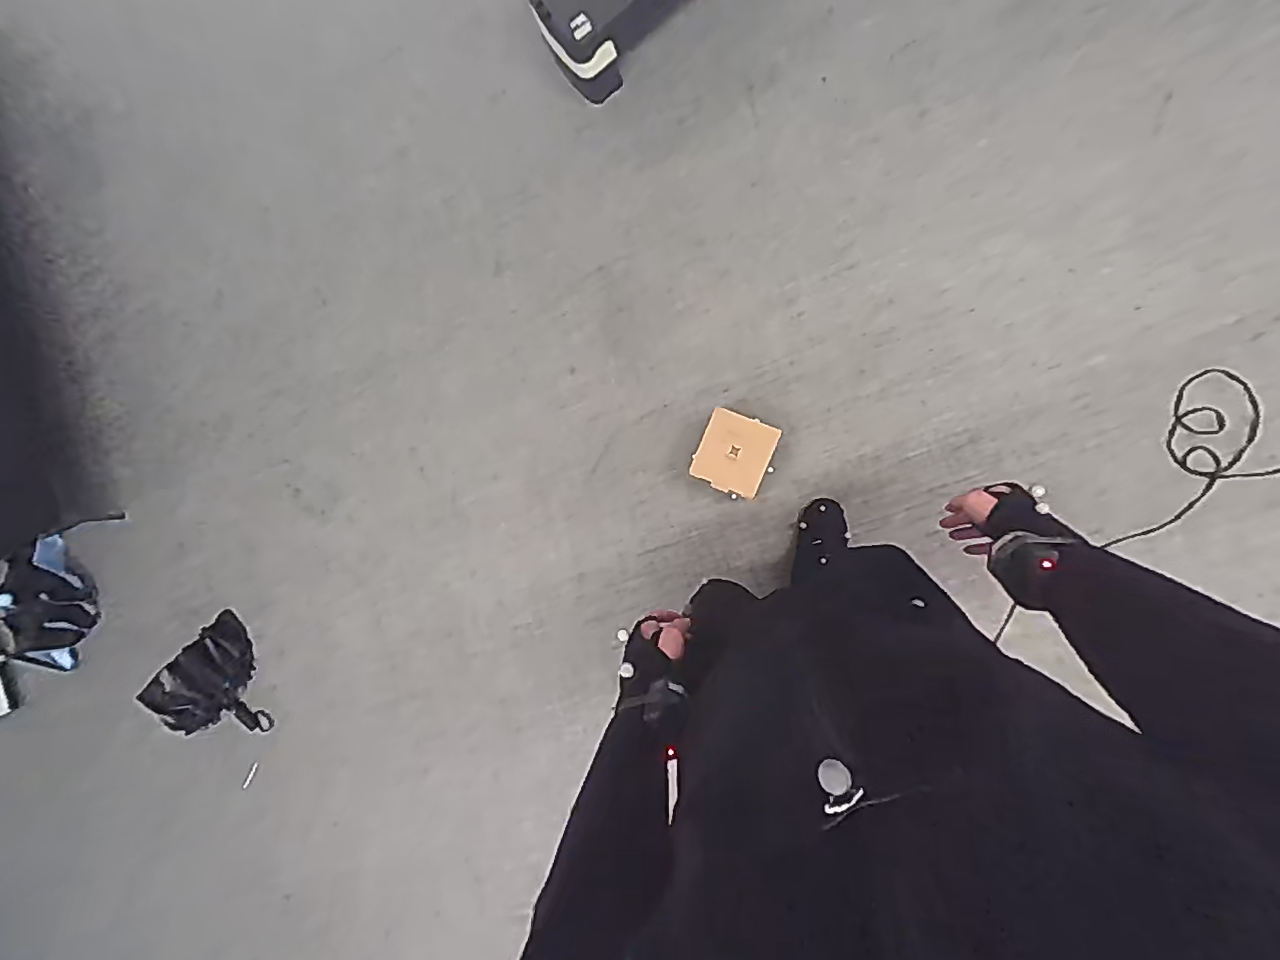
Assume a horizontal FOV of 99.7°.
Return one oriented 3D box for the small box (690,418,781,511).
[{"bbox_3d":[0.240,-0.034,1.341,0.168,0.176,0.179,22,93,12],"label":"small box"}]
